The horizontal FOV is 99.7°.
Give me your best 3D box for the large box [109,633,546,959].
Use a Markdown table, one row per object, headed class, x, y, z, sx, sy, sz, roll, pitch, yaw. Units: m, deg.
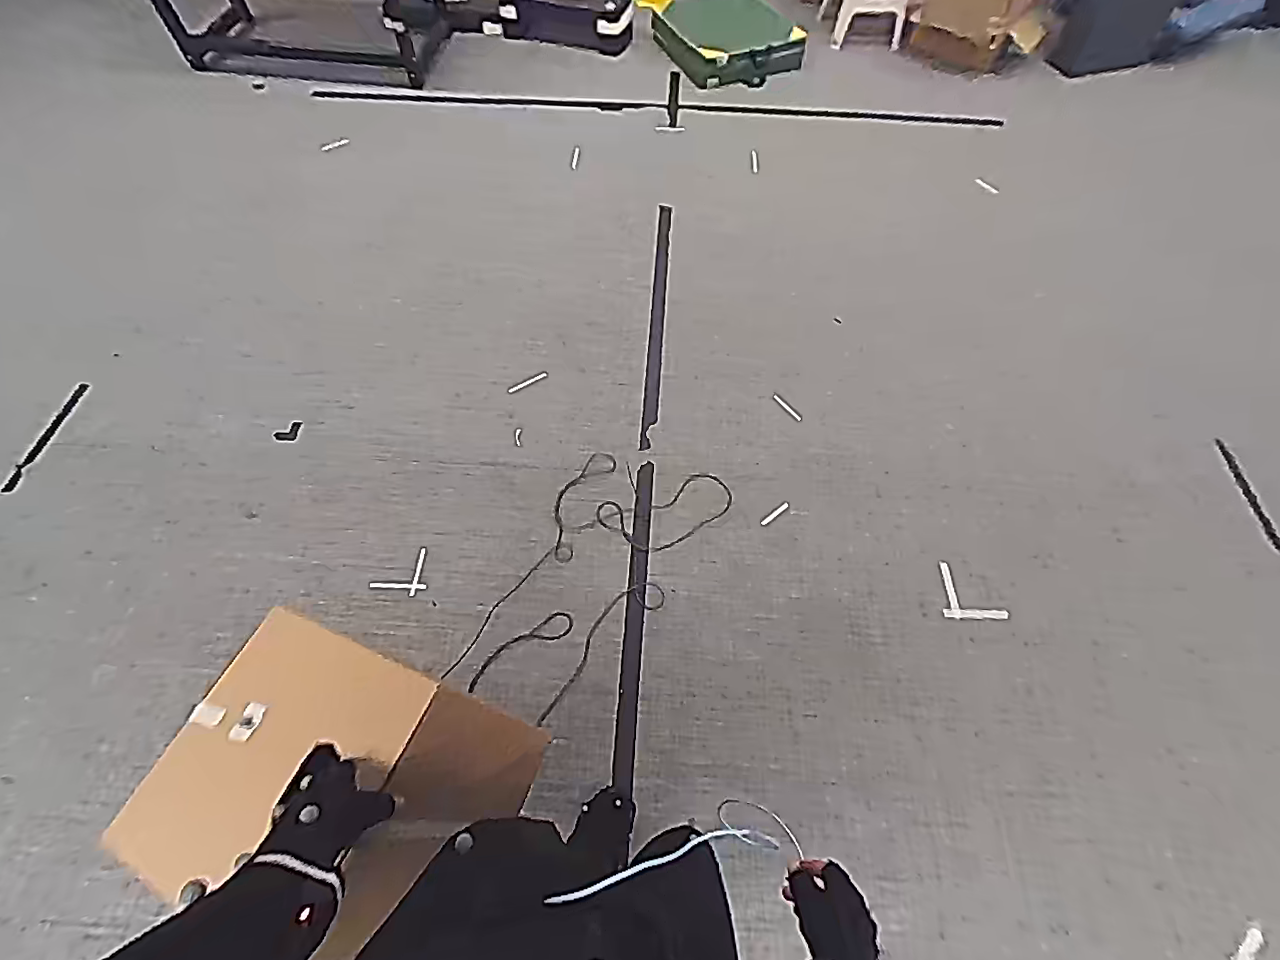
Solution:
| class | x | y | z | sx | sy | sz | roll | pitch | yaw |
| --- | --- | --- | --- | --- | --- | --- | --- | --- | --- |
| large box | -0.400 | 0.465 | 0.804 | 0.320 | 0.408 | 0.320 | 14 | 62 | 21 |
